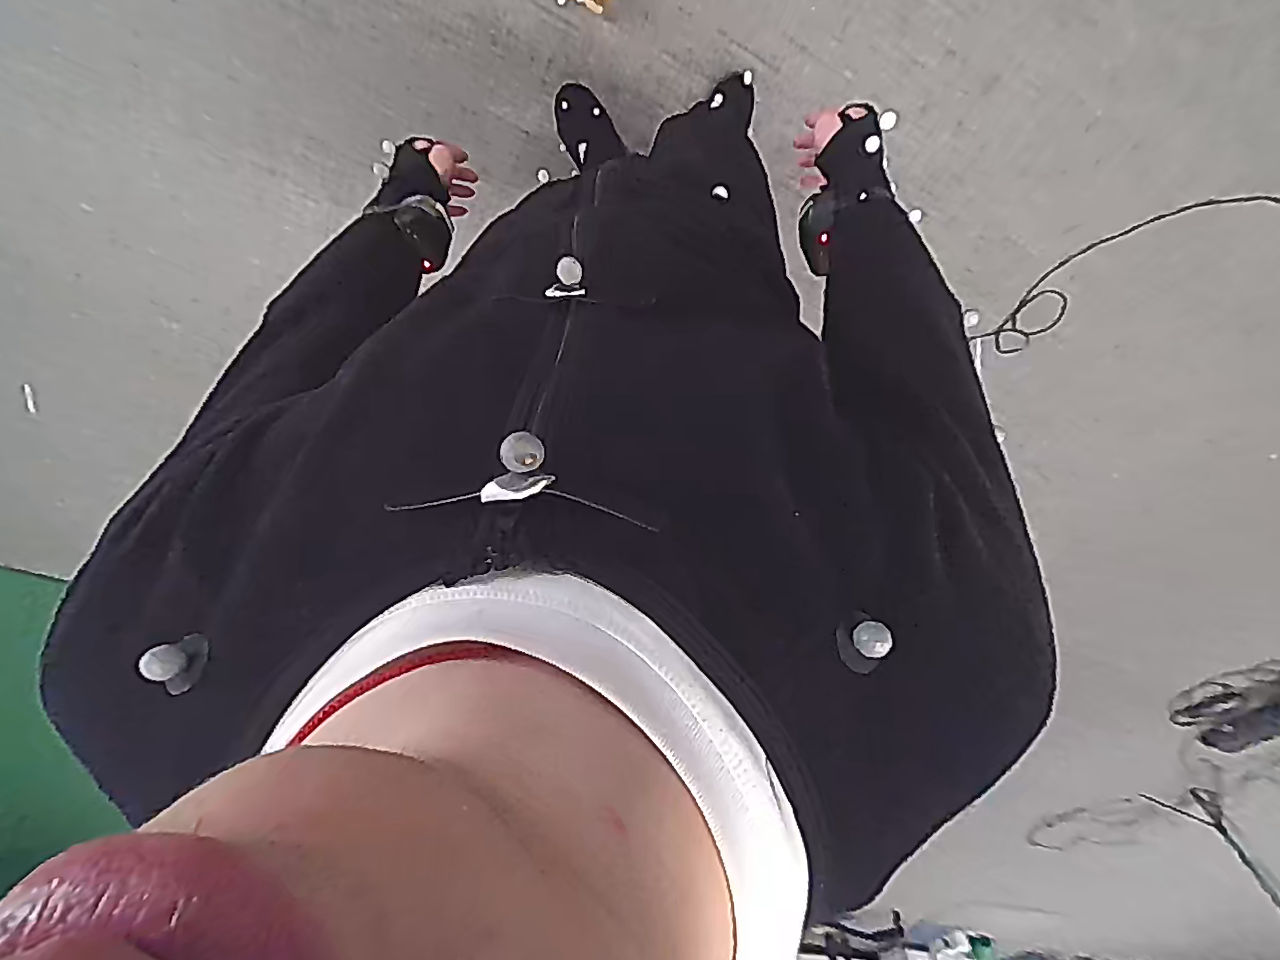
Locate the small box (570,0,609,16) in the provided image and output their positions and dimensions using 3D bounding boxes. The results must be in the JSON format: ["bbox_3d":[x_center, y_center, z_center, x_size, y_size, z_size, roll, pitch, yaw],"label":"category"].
[{"bbox_3d":[-0.114,-0.989,0.982,0.168,0.176,0.179,21,124,-16],"label":"small box"}]

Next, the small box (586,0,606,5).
[{"bbox_3d":[-0.100,-0.880,0.837,0.179,0.176,0.168,22,122,-17],"label":"small box"}]
